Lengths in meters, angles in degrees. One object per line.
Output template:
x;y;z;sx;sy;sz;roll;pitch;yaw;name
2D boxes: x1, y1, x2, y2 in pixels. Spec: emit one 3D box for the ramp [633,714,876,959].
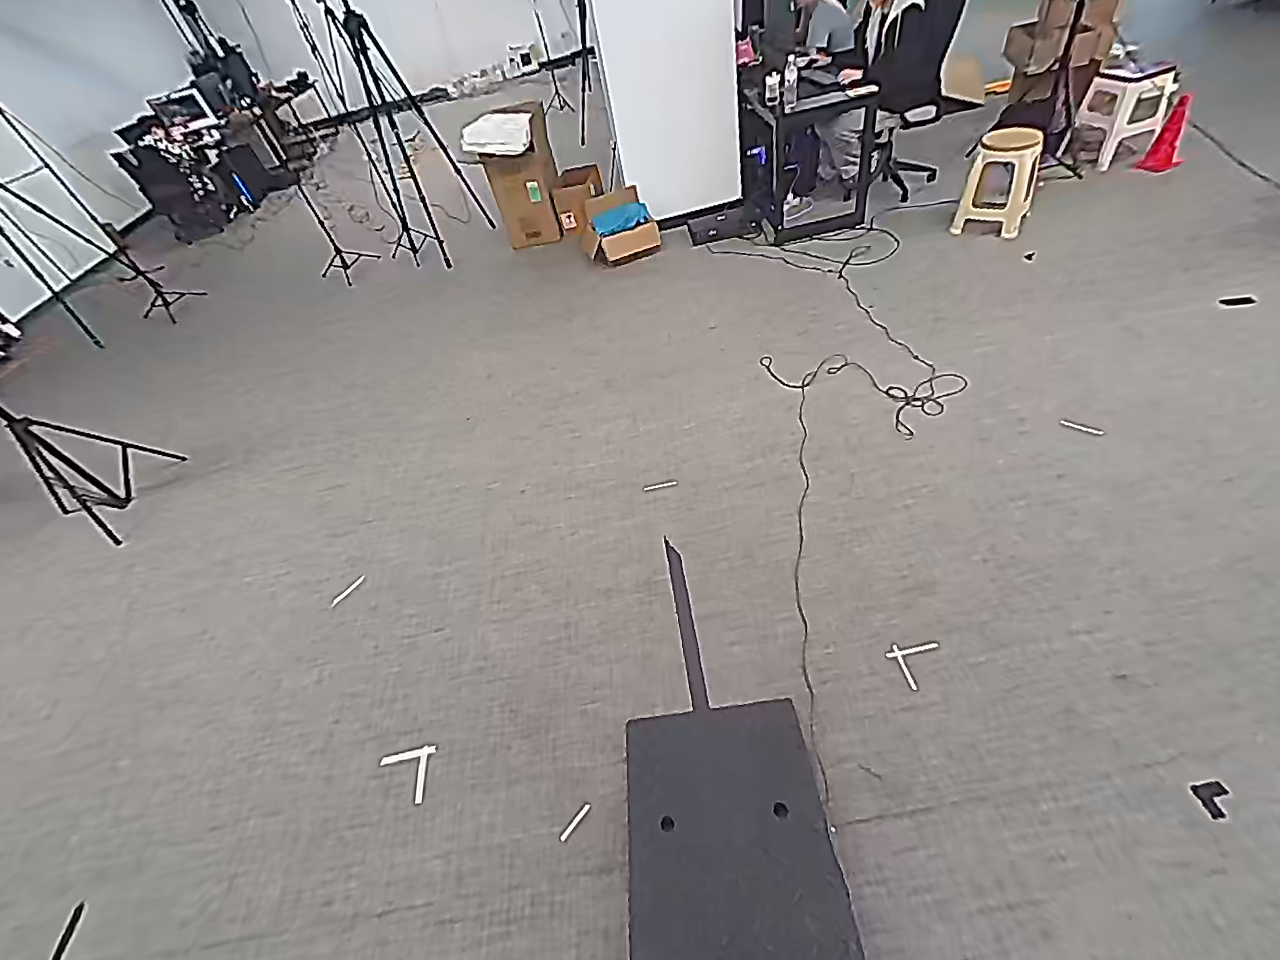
0.239;0.999;1.162;0.509;0.206;0.991;-14;43;4;ramp
